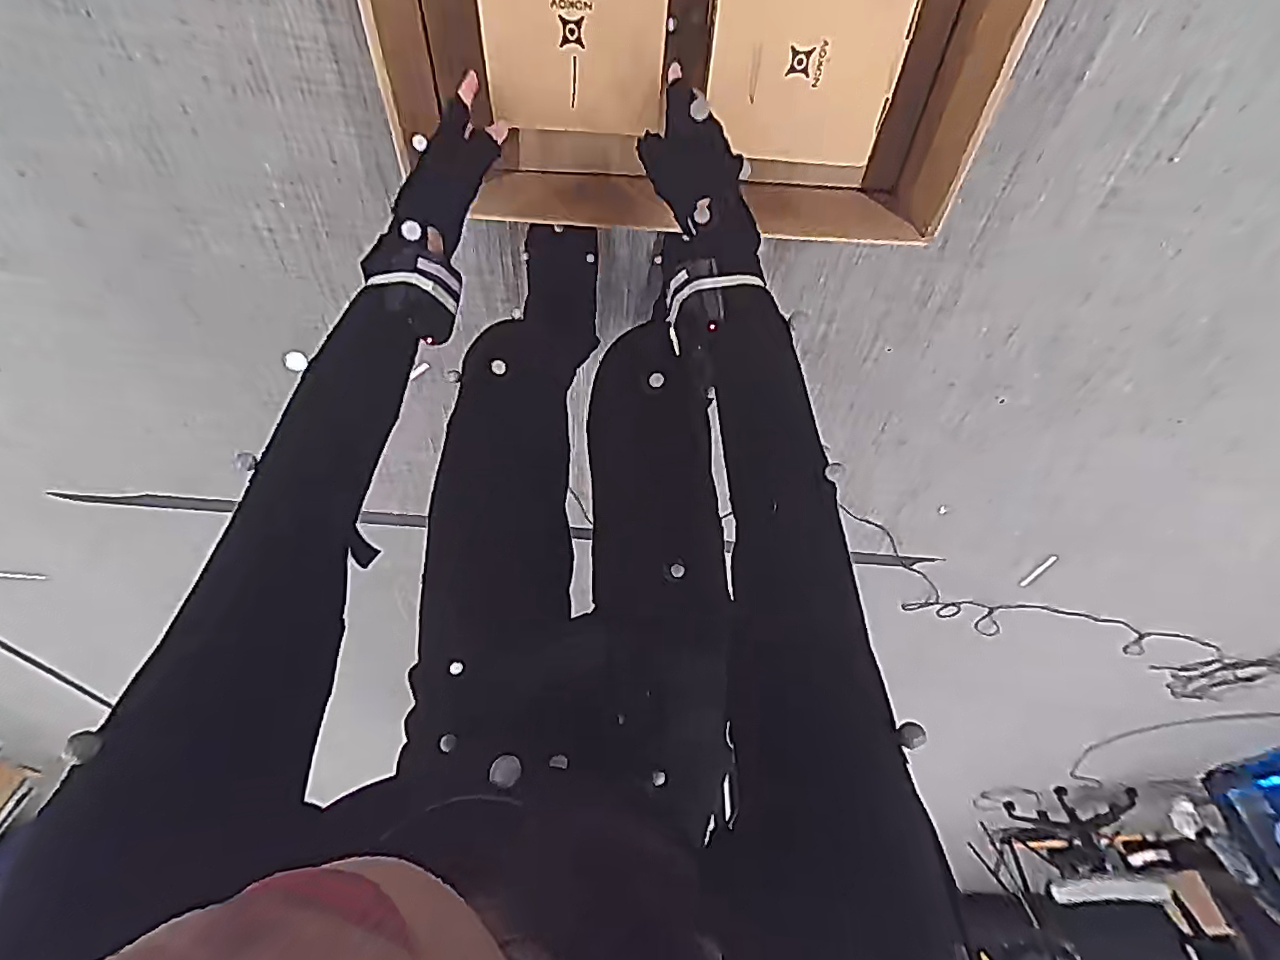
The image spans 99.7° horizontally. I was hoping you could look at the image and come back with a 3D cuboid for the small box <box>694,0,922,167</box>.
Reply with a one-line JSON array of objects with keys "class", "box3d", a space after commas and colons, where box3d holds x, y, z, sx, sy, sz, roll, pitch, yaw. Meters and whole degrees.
[{"class": "small box", "box3d": [0.154, -0.442, 0.549, 0.179, 0.176, 0.168, 5, 136, -1]}]
